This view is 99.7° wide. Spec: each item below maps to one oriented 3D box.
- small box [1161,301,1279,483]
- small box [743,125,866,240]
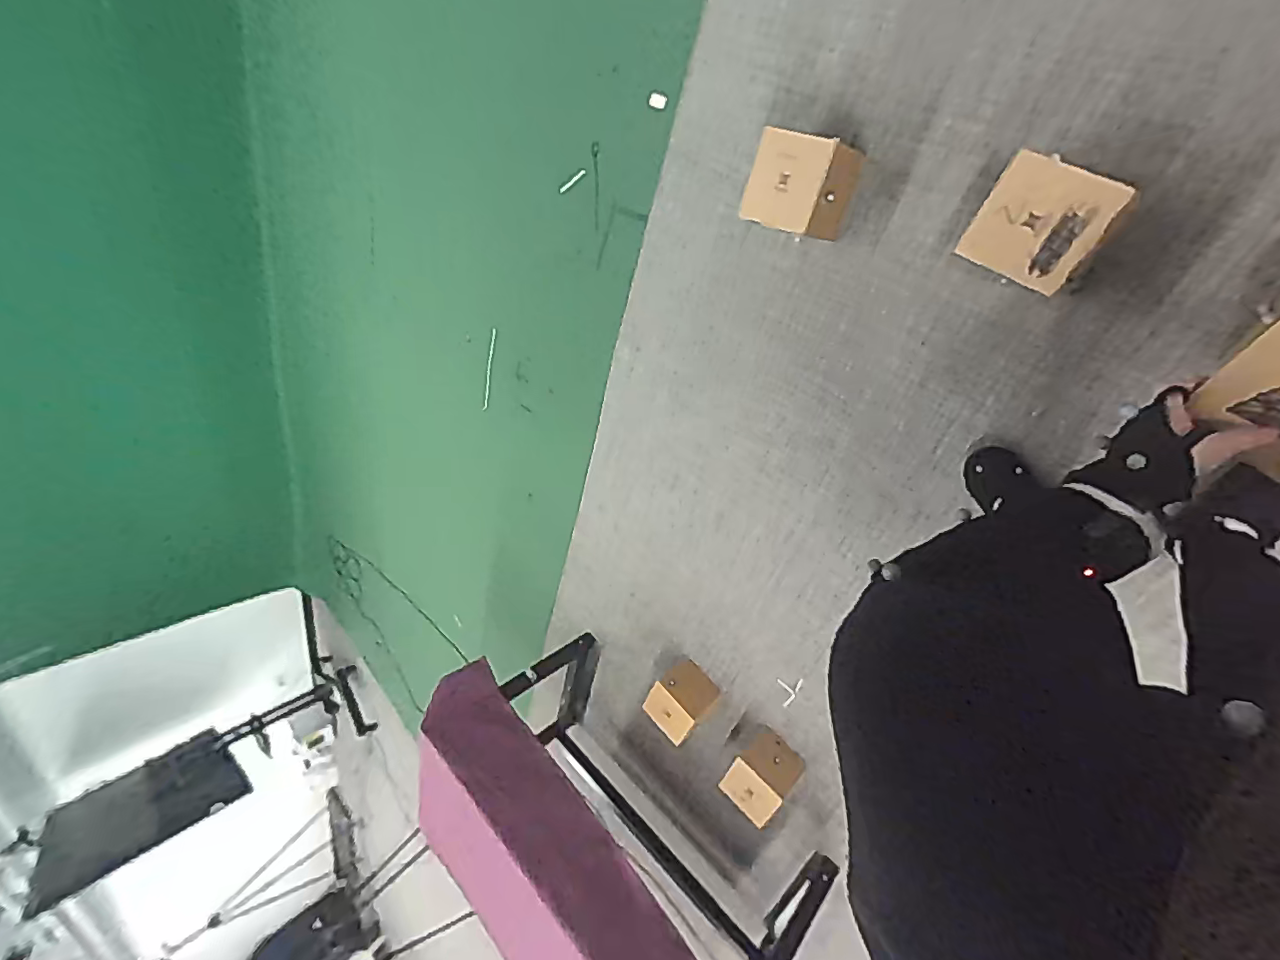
[{"bbox_3d":[0.621,-0.084,0.463,0.168,0.176,0.179,53,134,31],"label":"small box"},{"bbox_3d":[0.356,-0.629,1.161,0.168,0.176,0.179,36,125,29],"label":"small box"}]
